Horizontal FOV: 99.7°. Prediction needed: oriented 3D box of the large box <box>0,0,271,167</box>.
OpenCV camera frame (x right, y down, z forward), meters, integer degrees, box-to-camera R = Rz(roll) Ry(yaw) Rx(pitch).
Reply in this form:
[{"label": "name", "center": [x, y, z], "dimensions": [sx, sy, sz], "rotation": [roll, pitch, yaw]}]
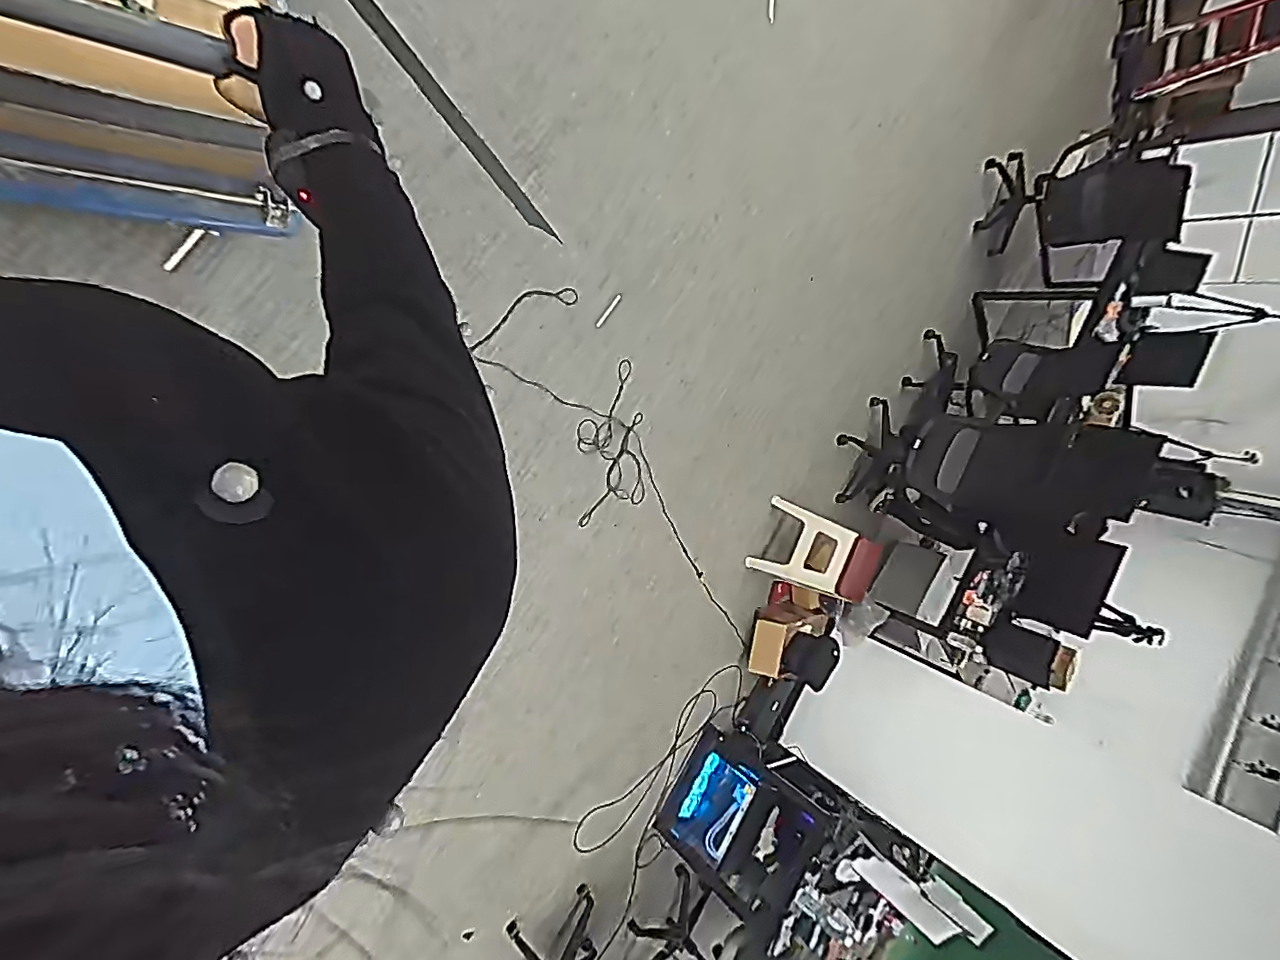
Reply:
[{"label": "large box", "center": [-0.777, -0.656, 0.719], "dimensions": [0.408, 0.320, 0.320], "rotation": [-11, 111, -42]}]
